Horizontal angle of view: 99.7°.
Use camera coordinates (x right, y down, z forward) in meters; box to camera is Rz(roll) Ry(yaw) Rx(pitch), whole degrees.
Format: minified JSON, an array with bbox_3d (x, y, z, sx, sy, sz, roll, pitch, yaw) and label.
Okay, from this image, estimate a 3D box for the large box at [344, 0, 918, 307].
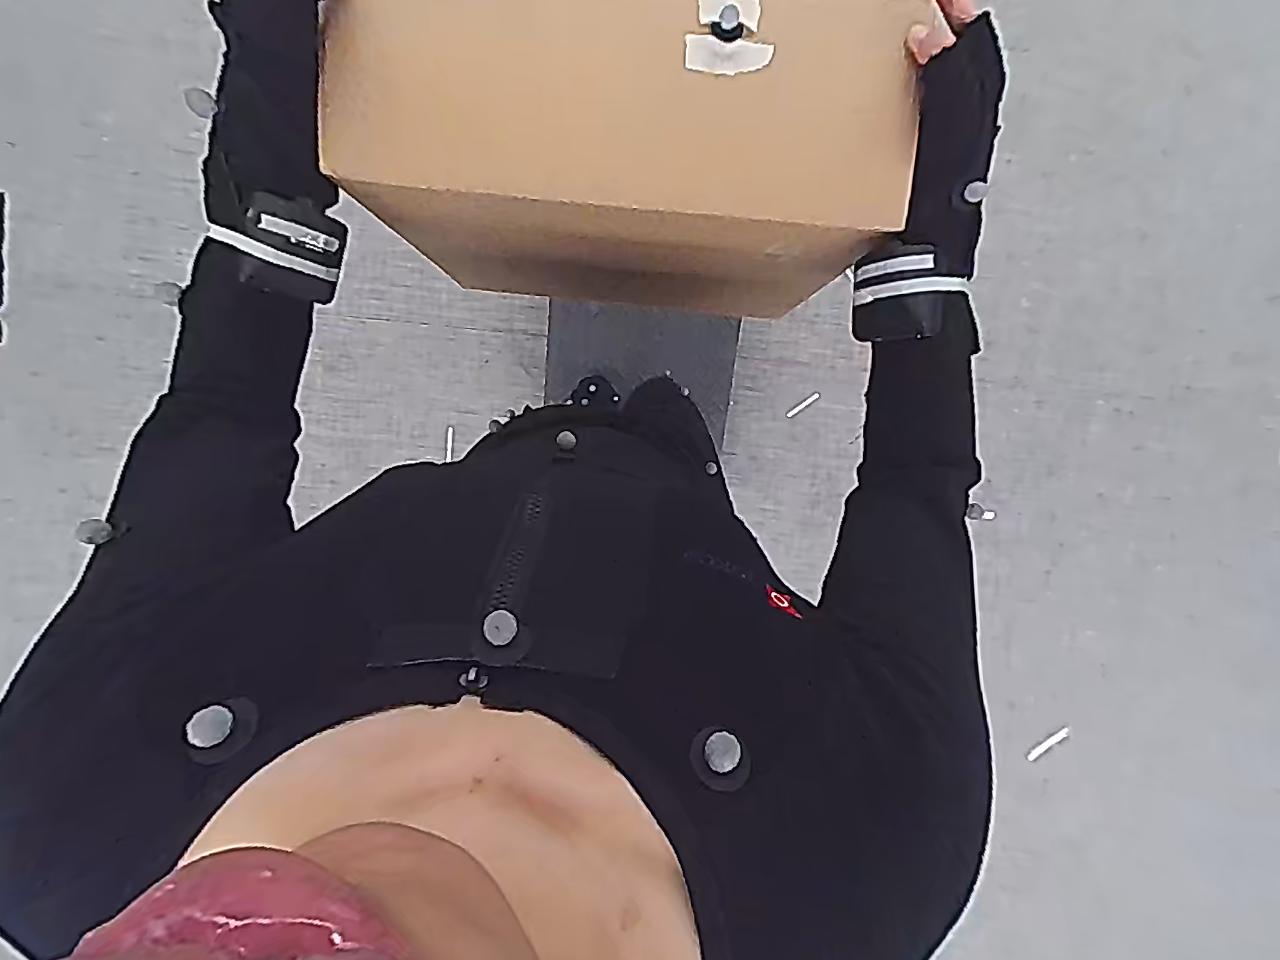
[{"bbox_3d":[-0.006,-0.368,0.521,0.408,0.320,0.320,5,96,-2],"label":"large box"}]
